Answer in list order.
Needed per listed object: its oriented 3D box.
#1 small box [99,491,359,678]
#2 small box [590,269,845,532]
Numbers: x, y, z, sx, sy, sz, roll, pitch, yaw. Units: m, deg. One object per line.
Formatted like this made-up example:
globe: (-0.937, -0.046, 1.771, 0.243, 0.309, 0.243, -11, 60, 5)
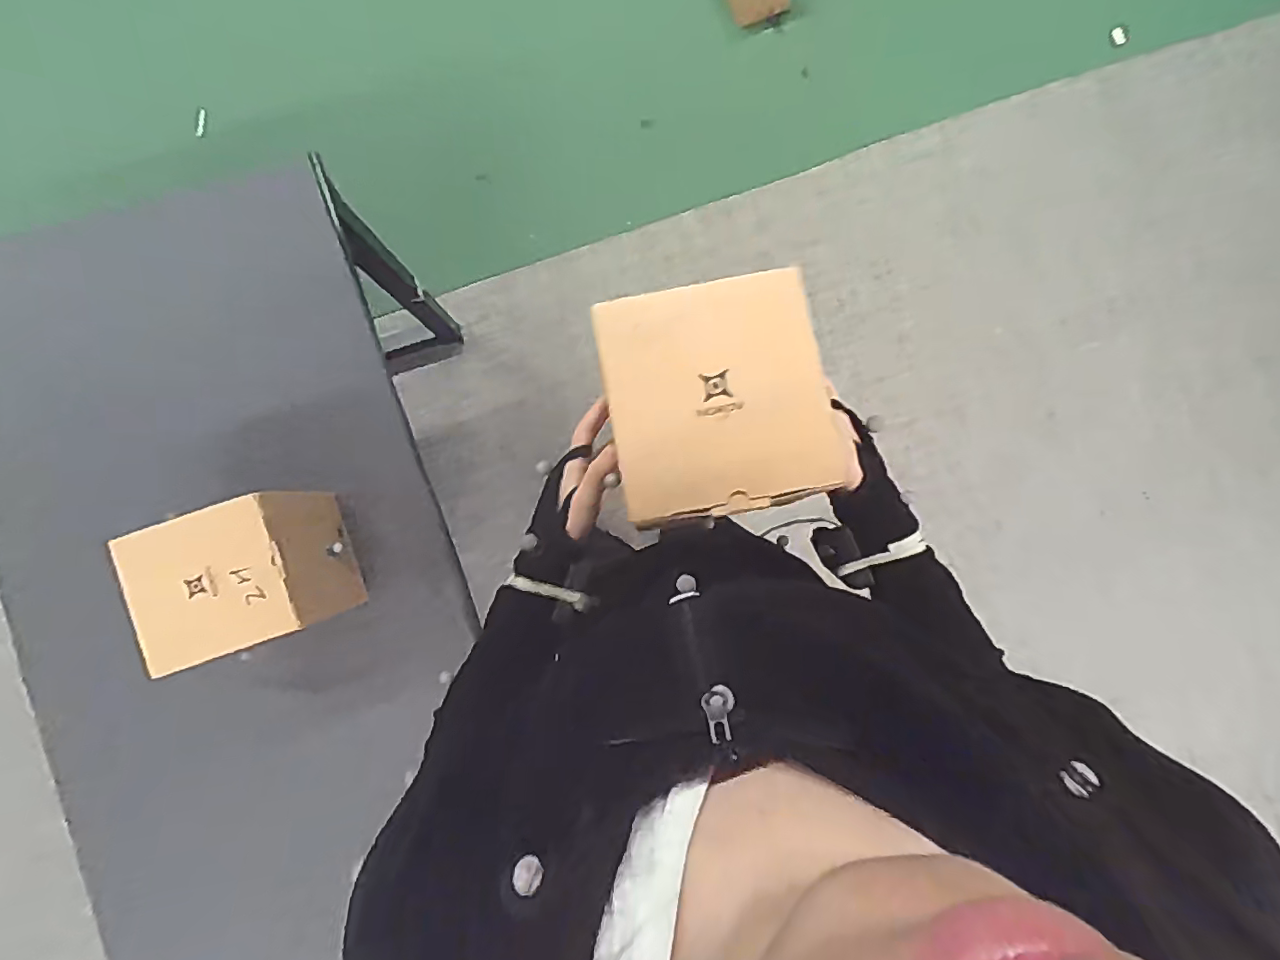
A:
small box: (-0.495, 0.119, 0.679, 0.179, 0.176, 0.168, -19, 89, -2)
small box: (0.055, -0.055, 0.485, 0.168, 0.176, 0.179, -12, 84, -1)
